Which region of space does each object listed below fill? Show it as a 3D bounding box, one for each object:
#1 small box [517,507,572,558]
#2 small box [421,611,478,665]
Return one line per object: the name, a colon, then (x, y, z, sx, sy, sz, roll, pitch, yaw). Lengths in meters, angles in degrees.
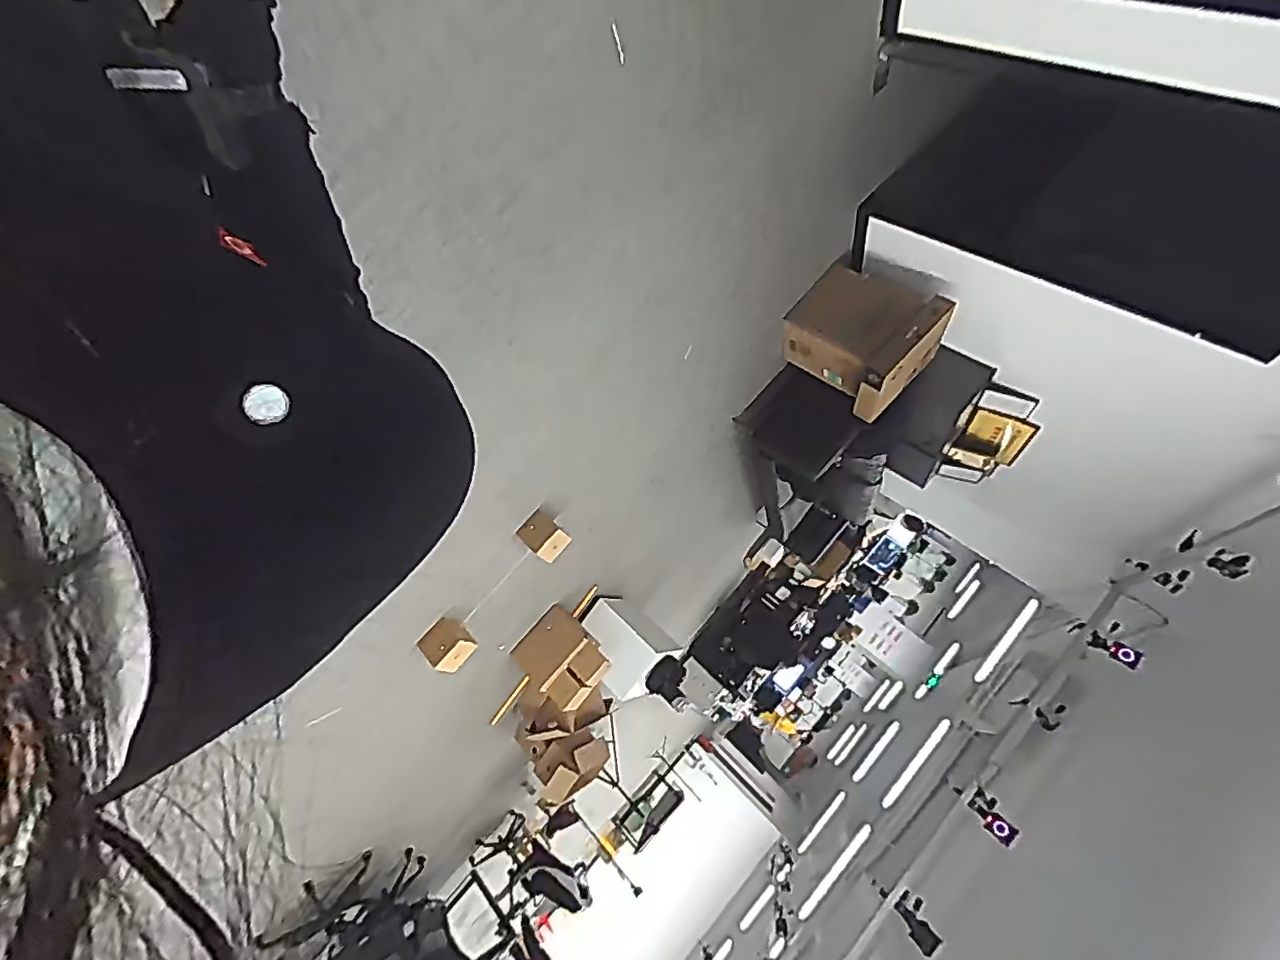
small box: (-0.475, 0.258, 2.683, 0.168, 0.176, 0.179, -48, 153, -7)
small box: (-0.930, 0.766, 2.615, 0.179, 0.176, 0.168, -48, 153, -7)
